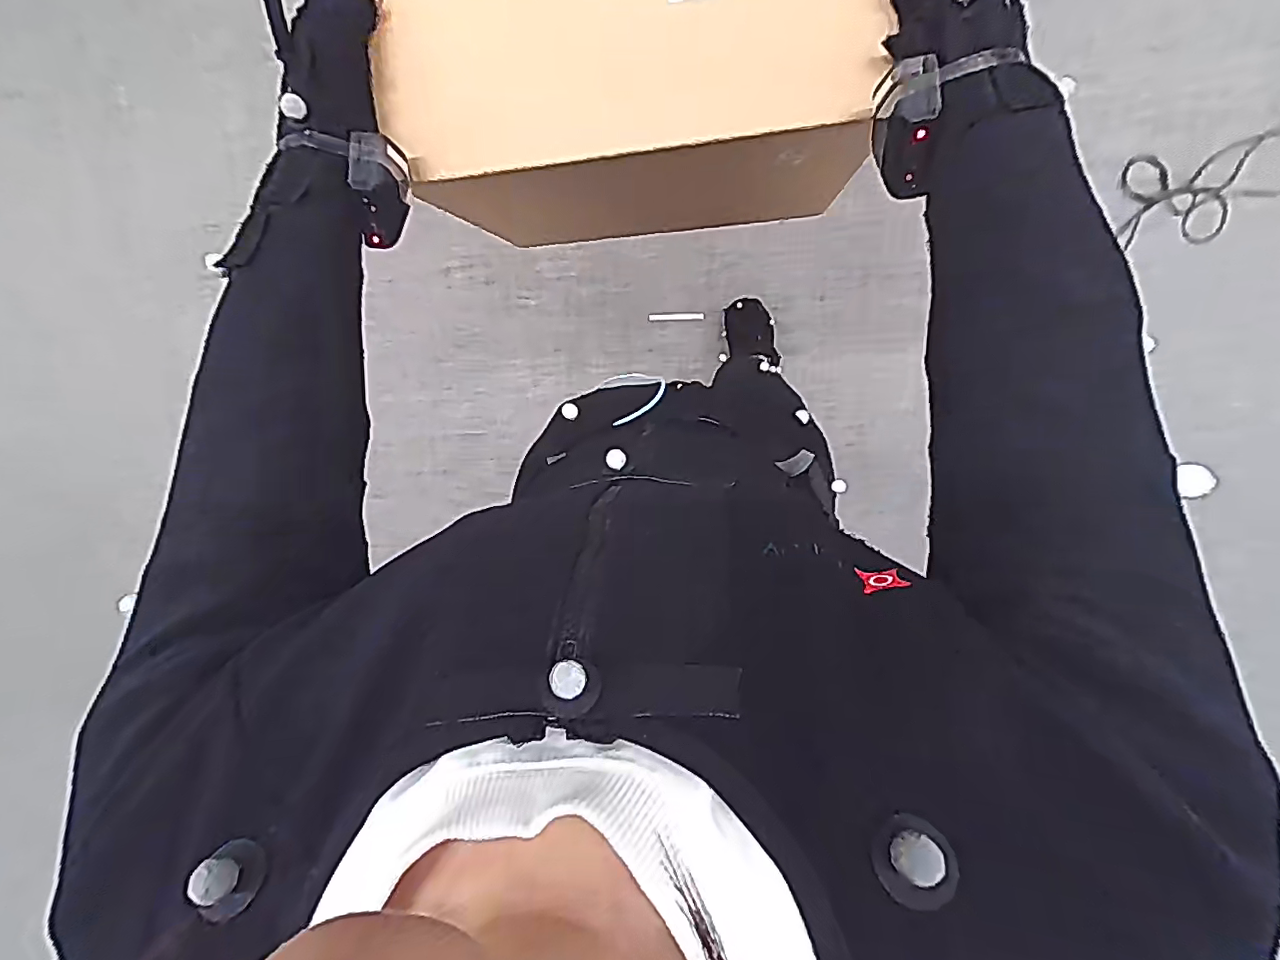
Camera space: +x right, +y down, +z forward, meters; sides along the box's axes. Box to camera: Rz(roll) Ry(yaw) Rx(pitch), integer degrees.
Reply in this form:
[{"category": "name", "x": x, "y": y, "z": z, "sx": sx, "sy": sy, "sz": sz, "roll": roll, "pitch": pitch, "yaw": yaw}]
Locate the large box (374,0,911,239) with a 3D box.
[{"category": "large box", "x": 0.002, "y": -0.453, "z": 0.530, "sx": 0.408, "sy": 0.320, "sz": 0.320, "roll": -4, "pitch": 104, "yaw": 8}]
